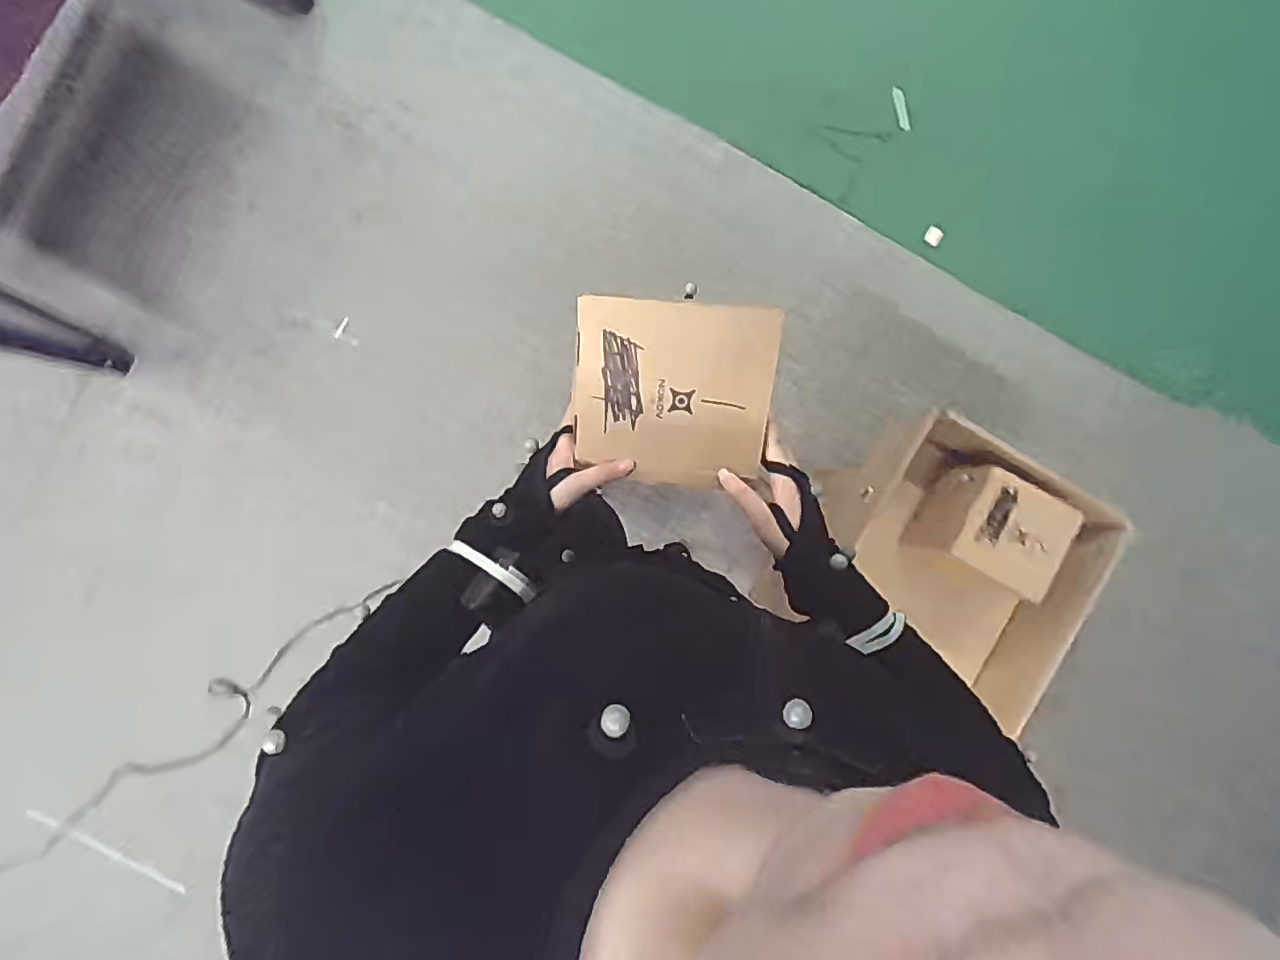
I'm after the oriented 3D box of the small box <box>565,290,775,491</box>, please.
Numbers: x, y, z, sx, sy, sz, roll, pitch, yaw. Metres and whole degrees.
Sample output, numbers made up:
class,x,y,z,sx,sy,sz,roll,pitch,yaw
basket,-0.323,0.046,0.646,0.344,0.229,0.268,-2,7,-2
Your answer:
class,x,y,z,sx,sy,sz,roll,pitch,yaw
small box,0.026,-0.100,0.550,0.179,0.176,0.168,3,112,2
